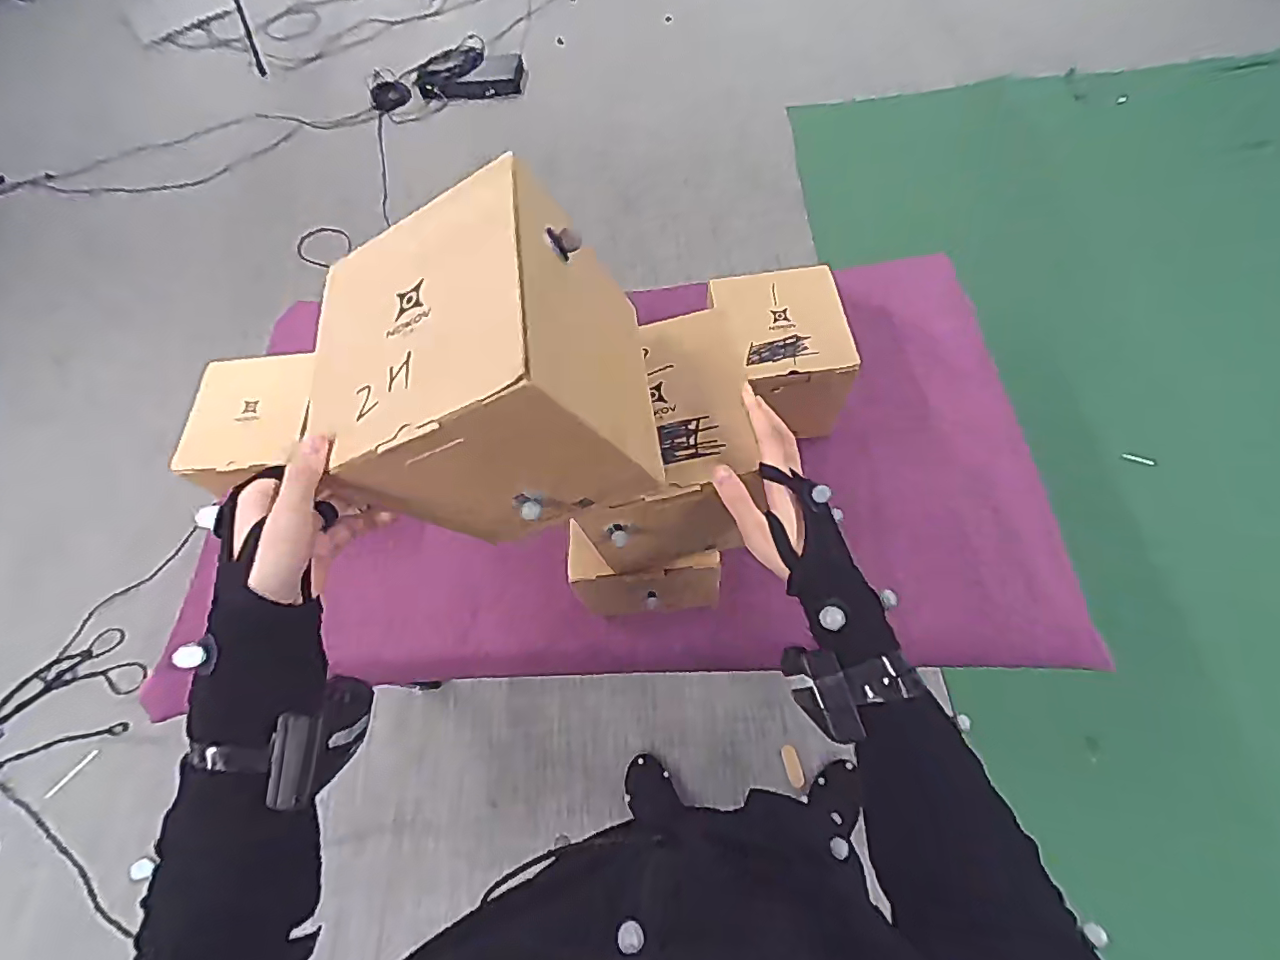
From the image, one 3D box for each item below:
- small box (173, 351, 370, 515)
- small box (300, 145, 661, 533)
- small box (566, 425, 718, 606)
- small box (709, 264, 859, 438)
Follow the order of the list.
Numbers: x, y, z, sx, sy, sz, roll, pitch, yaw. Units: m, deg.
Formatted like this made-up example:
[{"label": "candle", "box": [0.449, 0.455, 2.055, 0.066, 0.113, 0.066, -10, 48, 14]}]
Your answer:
[{"label": "small box", "box": [-0.505, -0.063, 0.784, 0.168, 0.176, 0.179, -4, 65, 3]}, {"label": "small box", "box": [-0.098, -0.079, 0.387, 0.168, 0.176, 0.179, -17, 64, 20]}, {"label": "small box", "box": [0.007, 0.055, 0.674, 0.168, 0.176, 0.179, -6, 64, 3]}, {"label": "small box", "box": [0.189, -0.170, 0.766, 0.168, 0.176, 0.179, -6, 63, 3]}]
